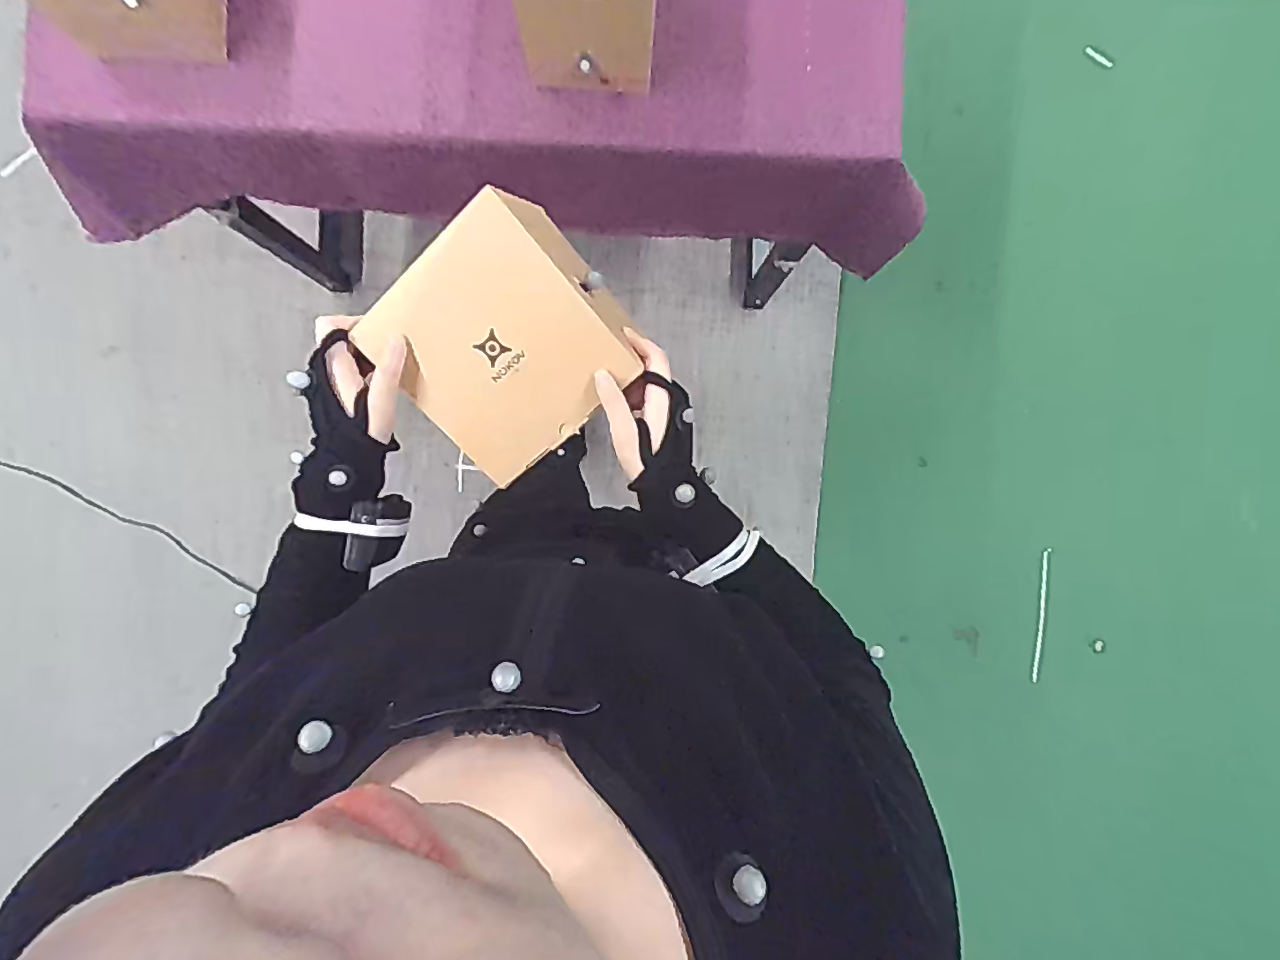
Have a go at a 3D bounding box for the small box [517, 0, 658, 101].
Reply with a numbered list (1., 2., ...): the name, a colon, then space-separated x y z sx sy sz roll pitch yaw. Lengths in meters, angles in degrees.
1. small box: -0.060 -0.624 0.673 0.168 0.176 0.179 5 90 -1
